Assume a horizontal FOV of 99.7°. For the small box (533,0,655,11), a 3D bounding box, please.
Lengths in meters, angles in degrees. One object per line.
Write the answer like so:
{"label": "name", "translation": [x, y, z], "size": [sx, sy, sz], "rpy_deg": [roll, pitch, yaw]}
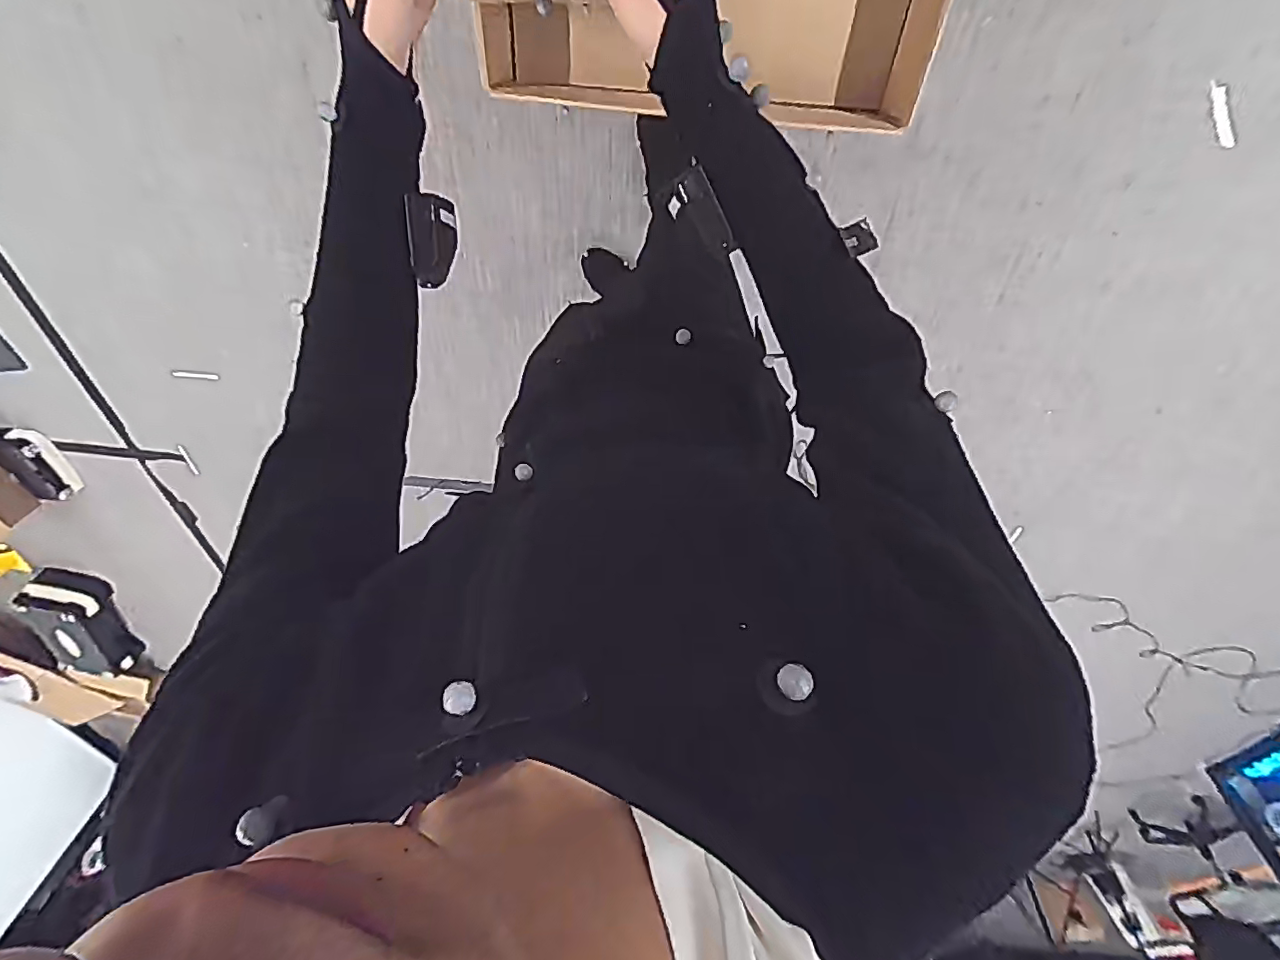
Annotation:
{"label": "small box", "translation": [-0.061, -0.719, 0.689], "size": [0.168, 0.176, 0.179], "rpy_deg": [5, 130, 3]}

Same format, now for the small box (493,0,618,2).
{"label": "small box", "translation": [-0.086, -0.508, 0.427], "size": [0.168, 0.176, 0.179], "rpy_deg": [1, 126, 2]}
